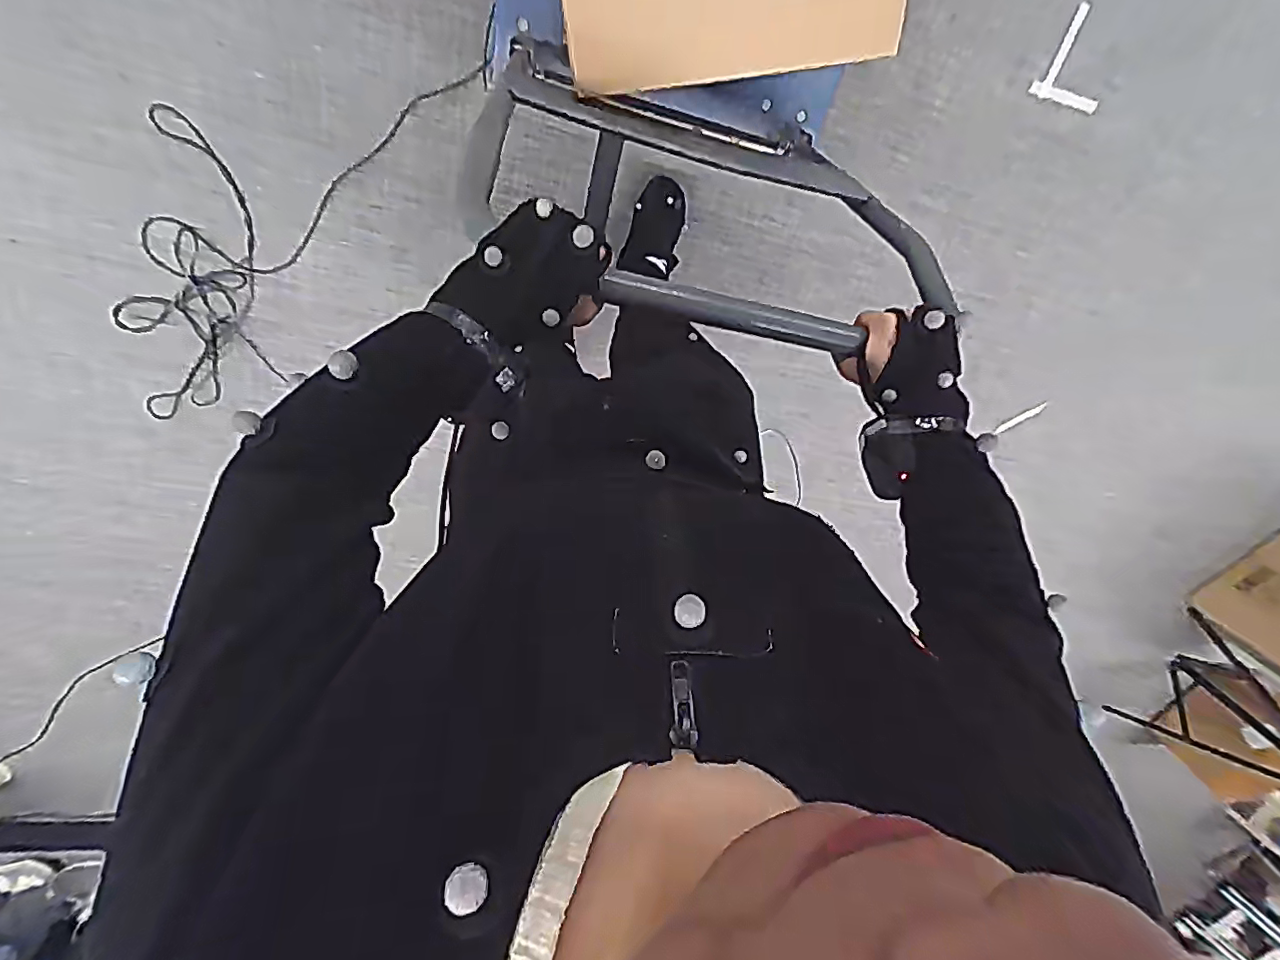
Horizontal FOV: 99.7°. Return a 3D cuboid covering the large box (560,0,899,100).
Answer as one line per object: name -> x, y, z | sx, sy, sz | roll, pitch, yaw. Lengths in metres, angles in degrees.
large box -> 0.084, -0.715, 0.688 | 0.408, 0.320, 0.320 | -9, 132, -2
